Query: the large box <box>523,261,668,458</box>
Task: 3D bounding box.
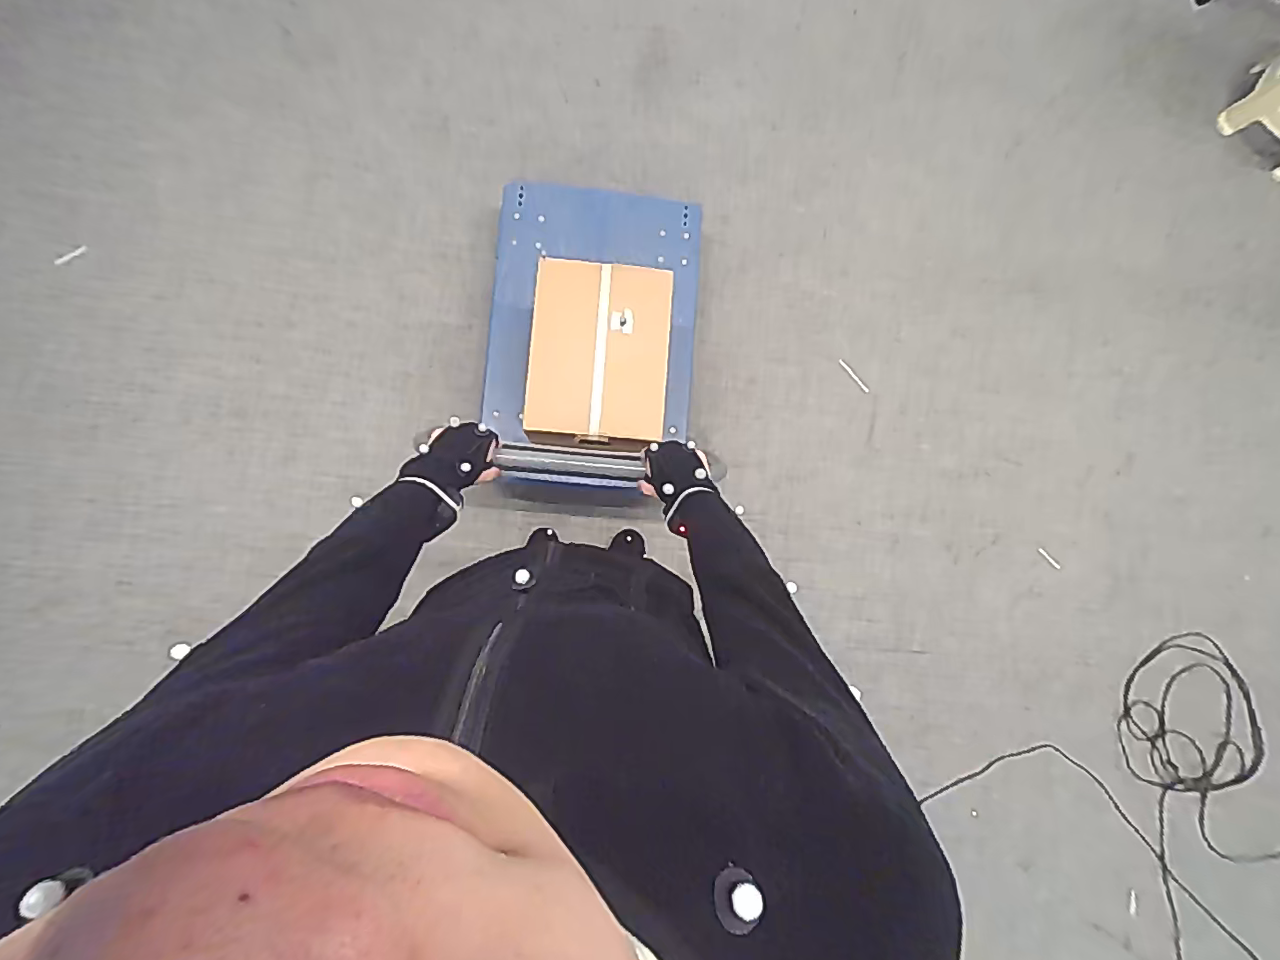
[{"bbox_3d":[-0.108,-0.278,1.369,0.320,0.320,0.408,4,83,-5],"label":"large box"}]
